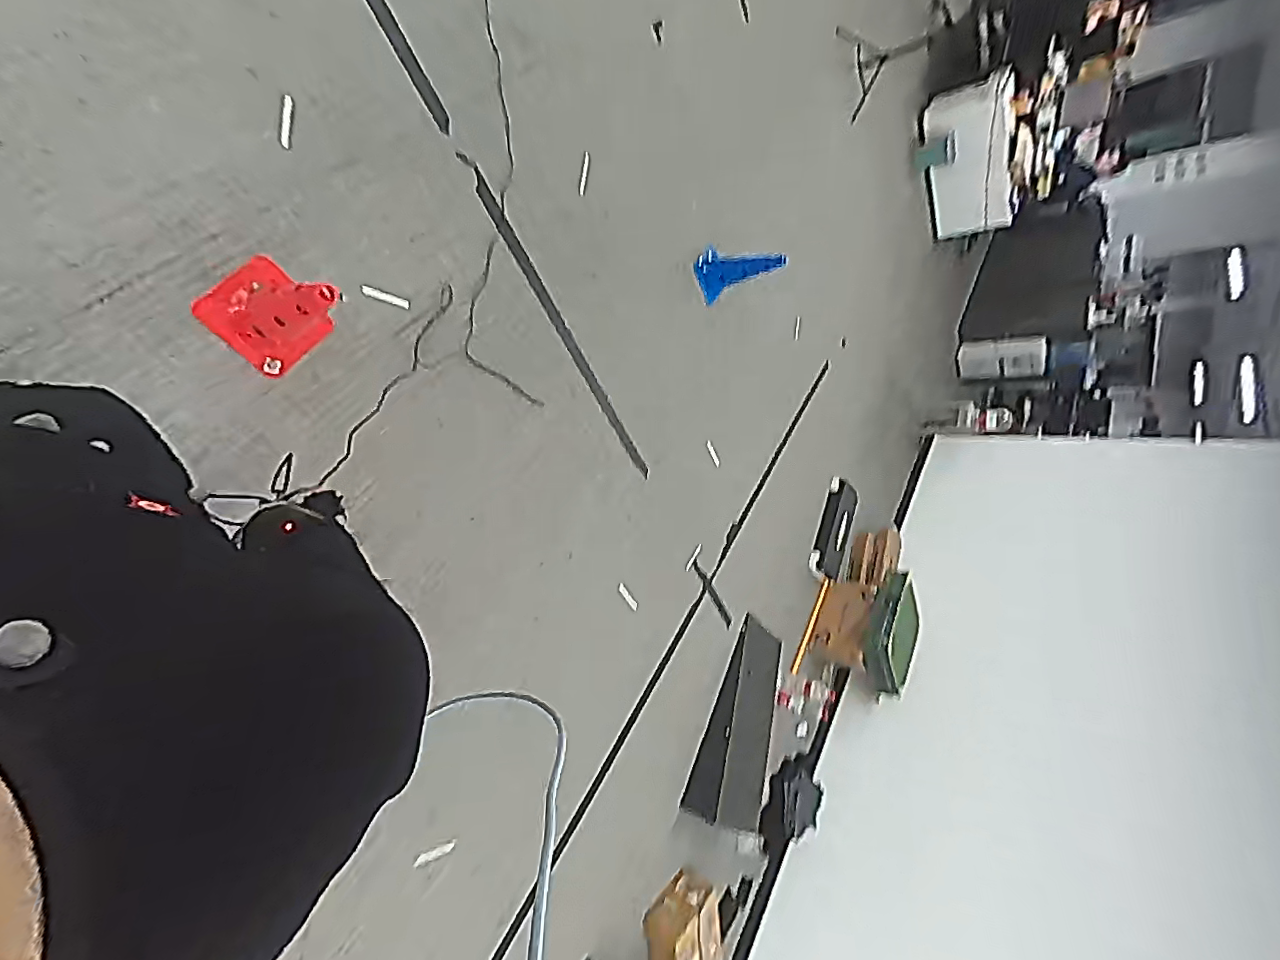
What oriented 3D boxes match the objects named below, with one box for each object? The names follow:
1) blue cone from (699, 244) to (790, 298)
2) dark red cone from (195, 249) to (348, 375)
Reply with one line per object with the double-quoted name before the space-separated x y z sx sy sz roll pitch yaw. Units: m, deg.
"blue cone" 0.448 -0.911 2.283 0.192 0.380 0.193 -54 131 -32
"dark red cone" -0.658 -0.342 1.037 0.202 0.394 0.201 52 56 -39
